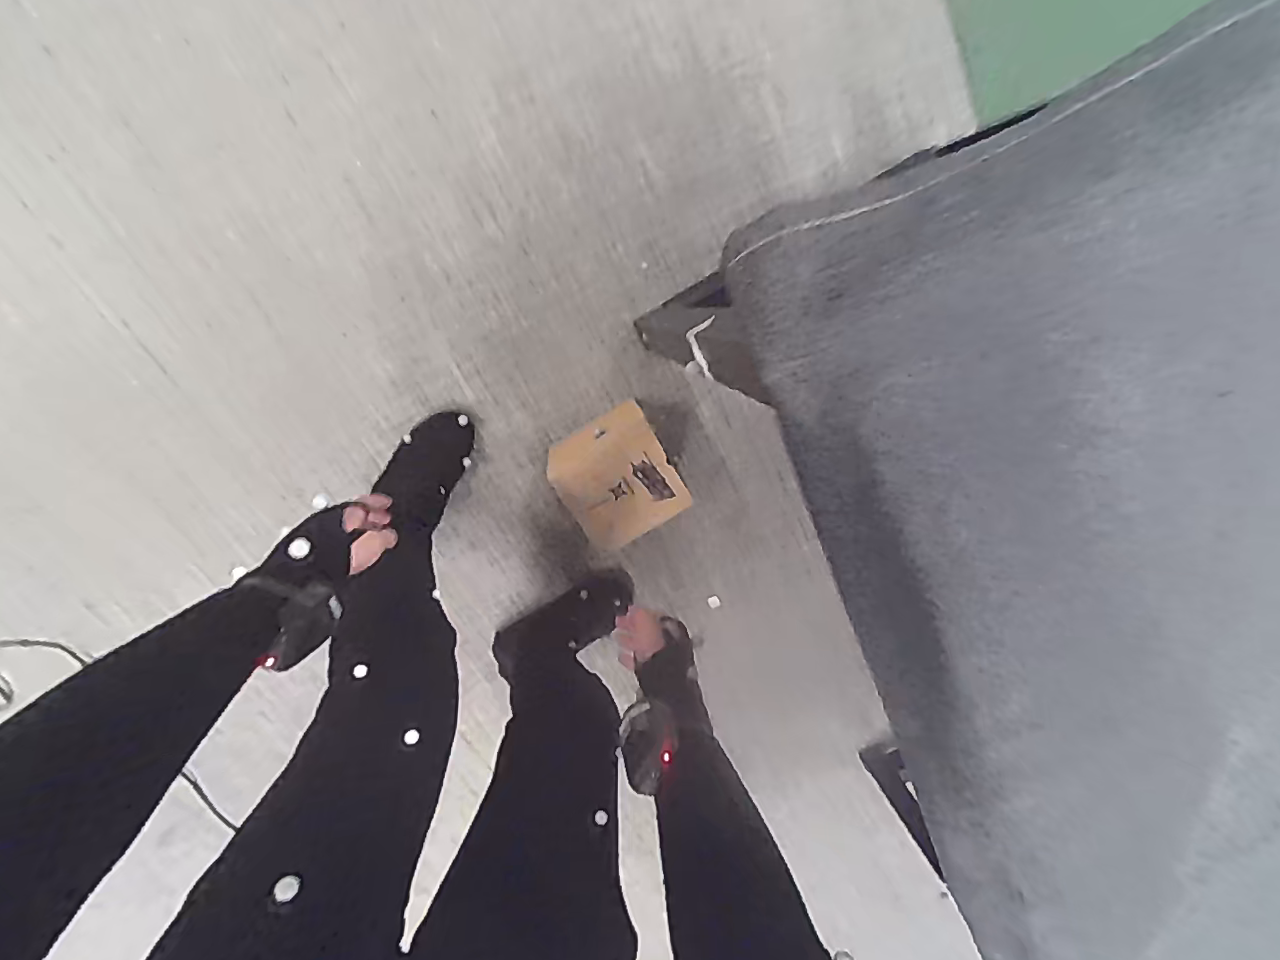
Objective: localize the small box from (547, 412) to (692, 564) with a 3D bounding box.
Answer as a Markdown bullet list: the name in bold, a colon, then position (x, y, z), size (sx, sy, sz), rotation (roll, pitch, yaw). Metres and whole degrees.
- **small box**: position (-0.040, 0.004, 0.909), size (0.179, 0.176, 0.168), rotation (-31, 107, 4)
